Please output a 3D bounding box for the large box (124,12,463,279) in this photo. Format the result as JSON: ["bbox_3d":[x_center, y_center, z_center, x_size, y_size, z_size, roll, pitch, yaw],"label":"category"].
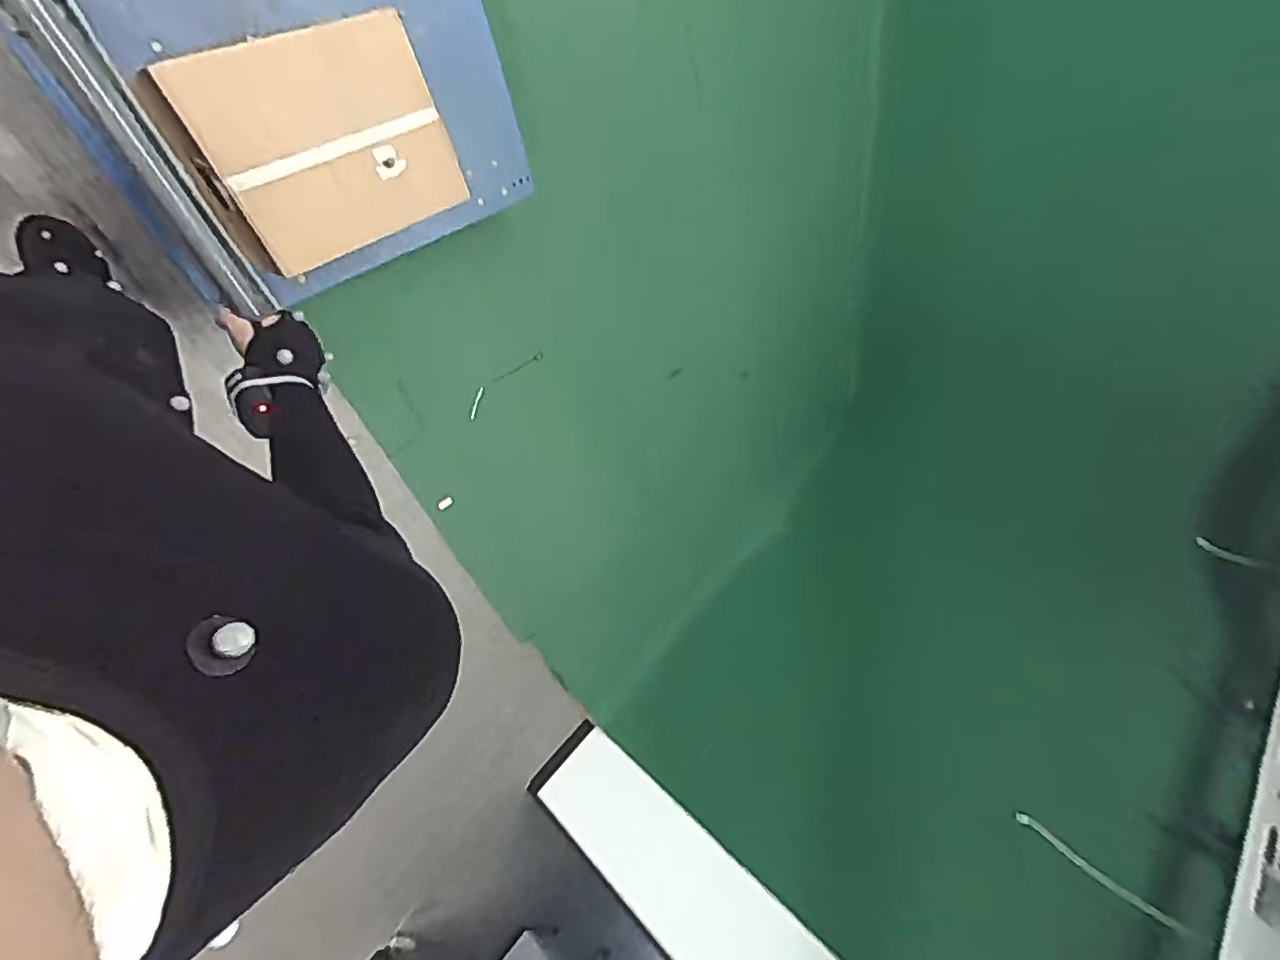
[{"bbox_3d":[-0.638,-0.630,1.037,0.408,0.320,0.320,-42,137,-27],"label":"large box"}]
